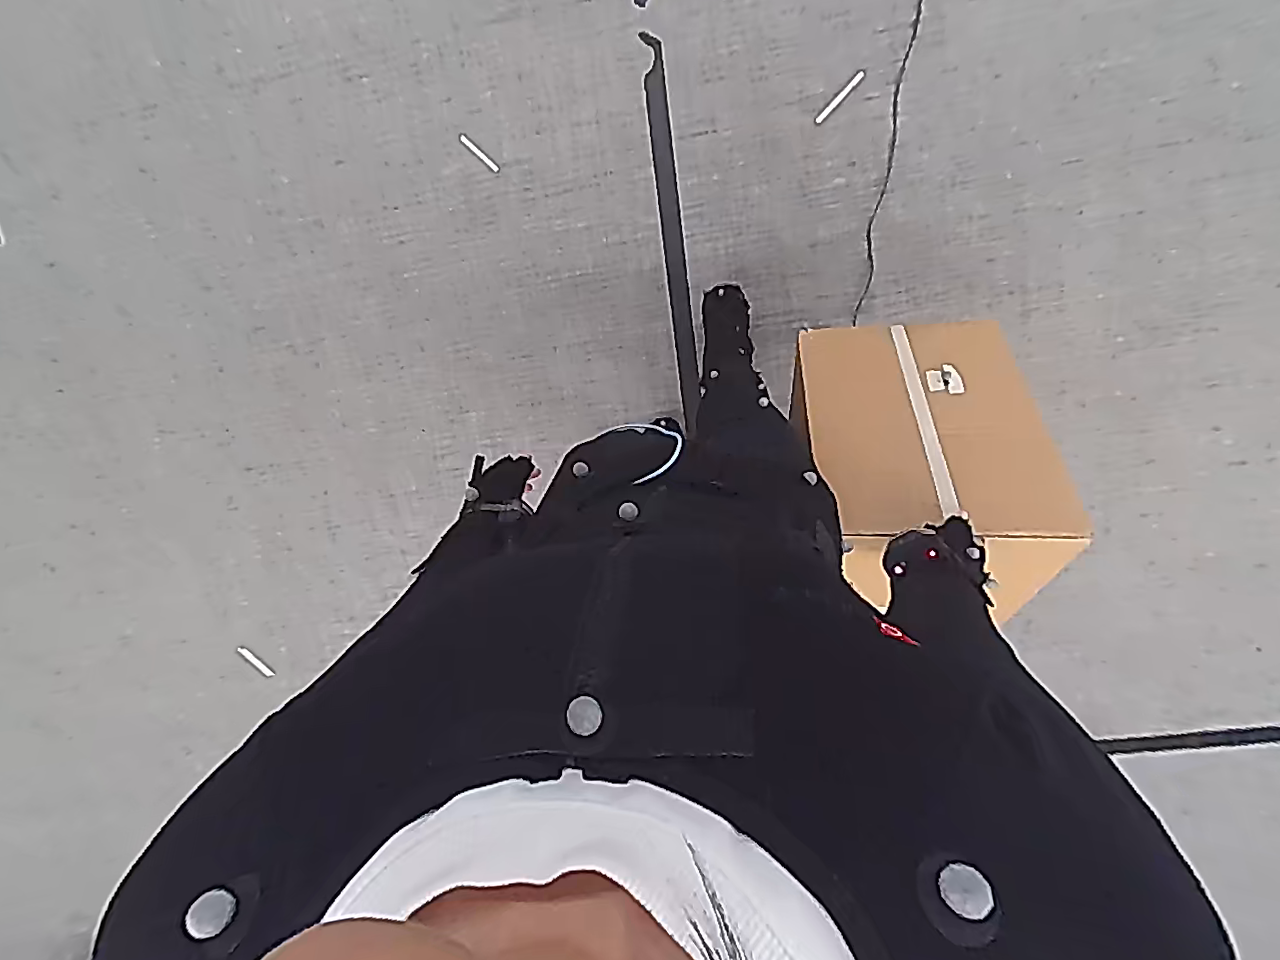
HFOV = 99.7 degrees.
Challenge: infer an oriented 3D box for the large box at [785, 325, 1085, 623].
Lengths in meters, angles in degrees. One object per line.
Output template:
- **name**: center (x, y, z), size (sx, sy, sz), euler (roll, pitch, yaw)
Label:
- **large box**: center (0.427, -0.005, 0.912), size (0.320, 0.408, 0.320), euler (0, 142, 8)
